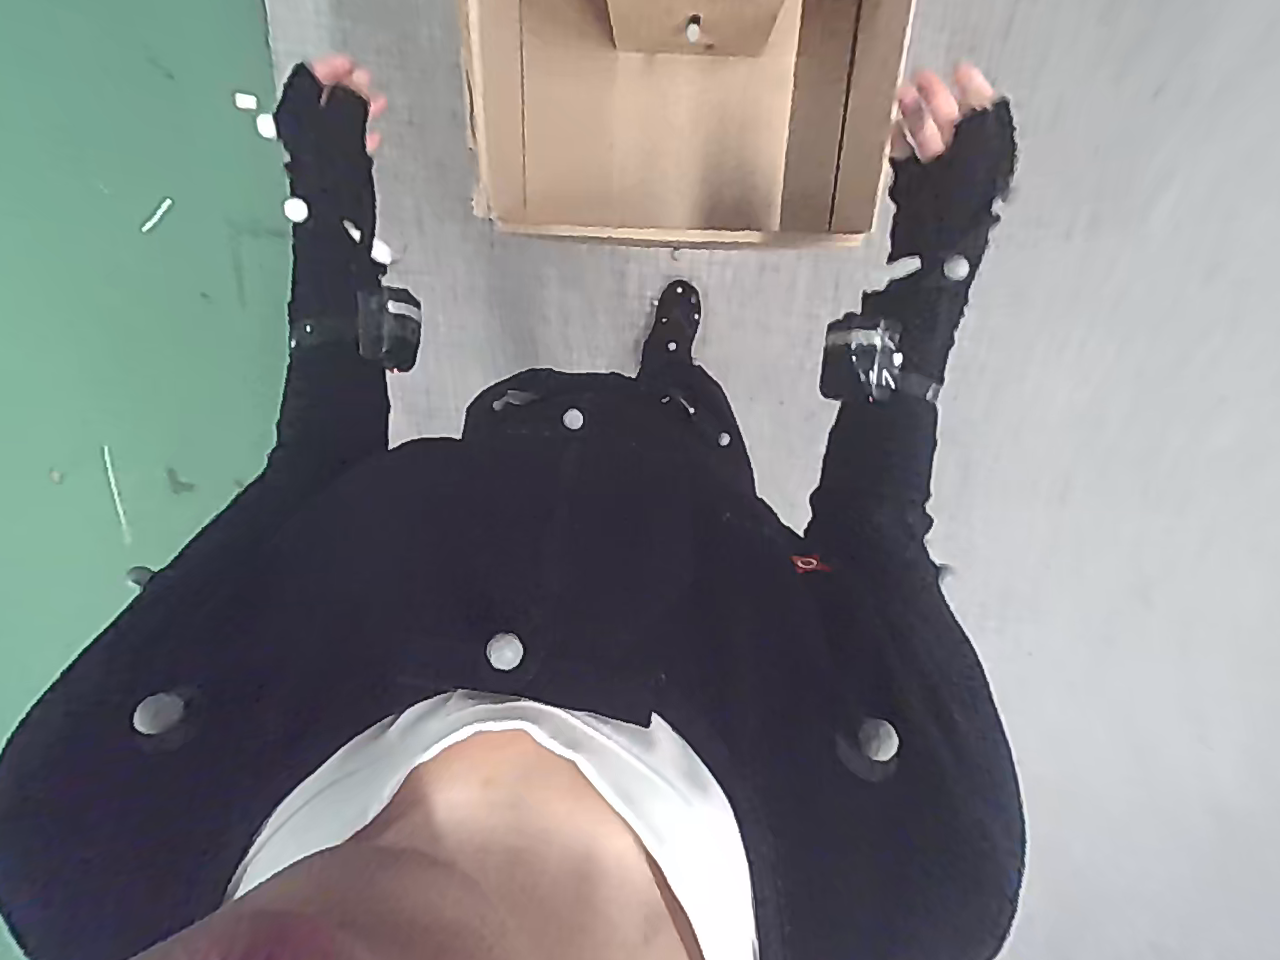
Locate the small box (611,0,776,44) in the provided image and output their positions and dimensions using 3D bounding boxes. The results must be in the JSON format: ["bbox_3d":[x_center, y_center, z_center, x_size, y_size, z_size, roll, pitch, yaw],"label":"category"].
[{"bbox_3d":[0.056,-0.536,0.495,0.168,0.176,0.179,3,110,0],"label":"small box"}]
